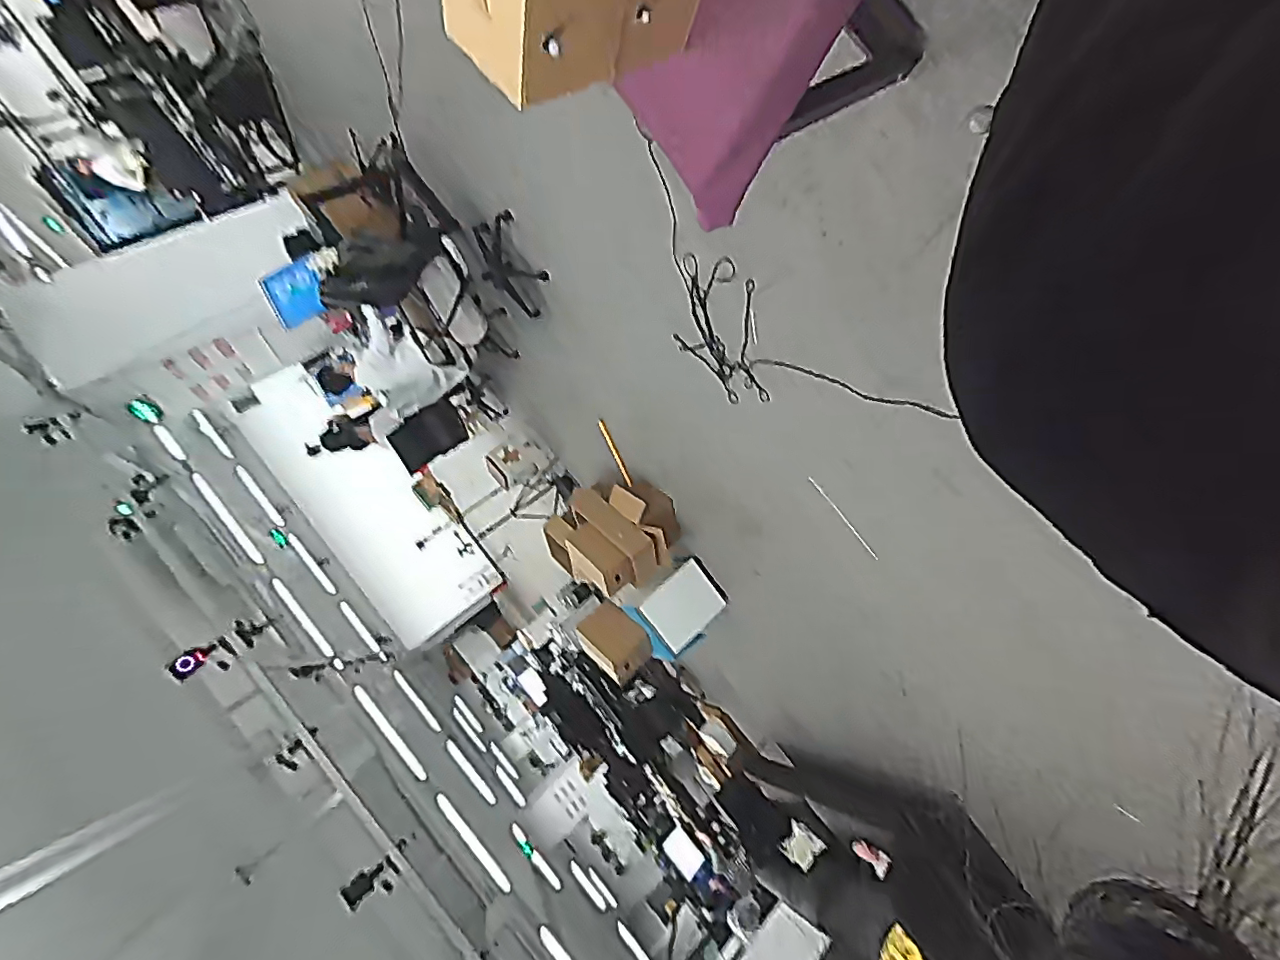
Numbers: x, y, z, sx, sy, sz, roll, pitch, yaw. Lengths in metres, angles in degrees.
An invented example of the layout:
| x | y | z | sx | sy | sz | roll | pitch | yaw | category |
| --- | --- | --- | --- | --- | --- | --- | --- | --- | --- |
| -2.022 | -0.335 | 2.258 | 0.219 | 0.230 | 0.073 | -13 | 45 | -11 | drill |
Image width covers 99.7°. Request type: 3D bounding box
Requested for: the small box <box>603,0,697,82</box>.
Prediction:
| x | y | z | sx | sy | sz | roll | pitch | yaw | category |
| --- | --- | --- | --- | --- | --- | --- | --- | --- | --- |
| -0.020 | -0.719 | 0.759 | 0.168 | 0.176 | 0.179 | 49 | 156 | 5 | small box |

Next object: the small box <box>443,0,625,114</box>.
| x | y | z | sx | sy | sz | roll | pitch | yaw | category |
| --- | --- | --- | --- | --- | --- | --- | --- | --- | --- |
| -0.132 | -0.626 | 0.689 | 0.168 | 0.176 | 0.179 | 48 | 157 | 6 | small box |
